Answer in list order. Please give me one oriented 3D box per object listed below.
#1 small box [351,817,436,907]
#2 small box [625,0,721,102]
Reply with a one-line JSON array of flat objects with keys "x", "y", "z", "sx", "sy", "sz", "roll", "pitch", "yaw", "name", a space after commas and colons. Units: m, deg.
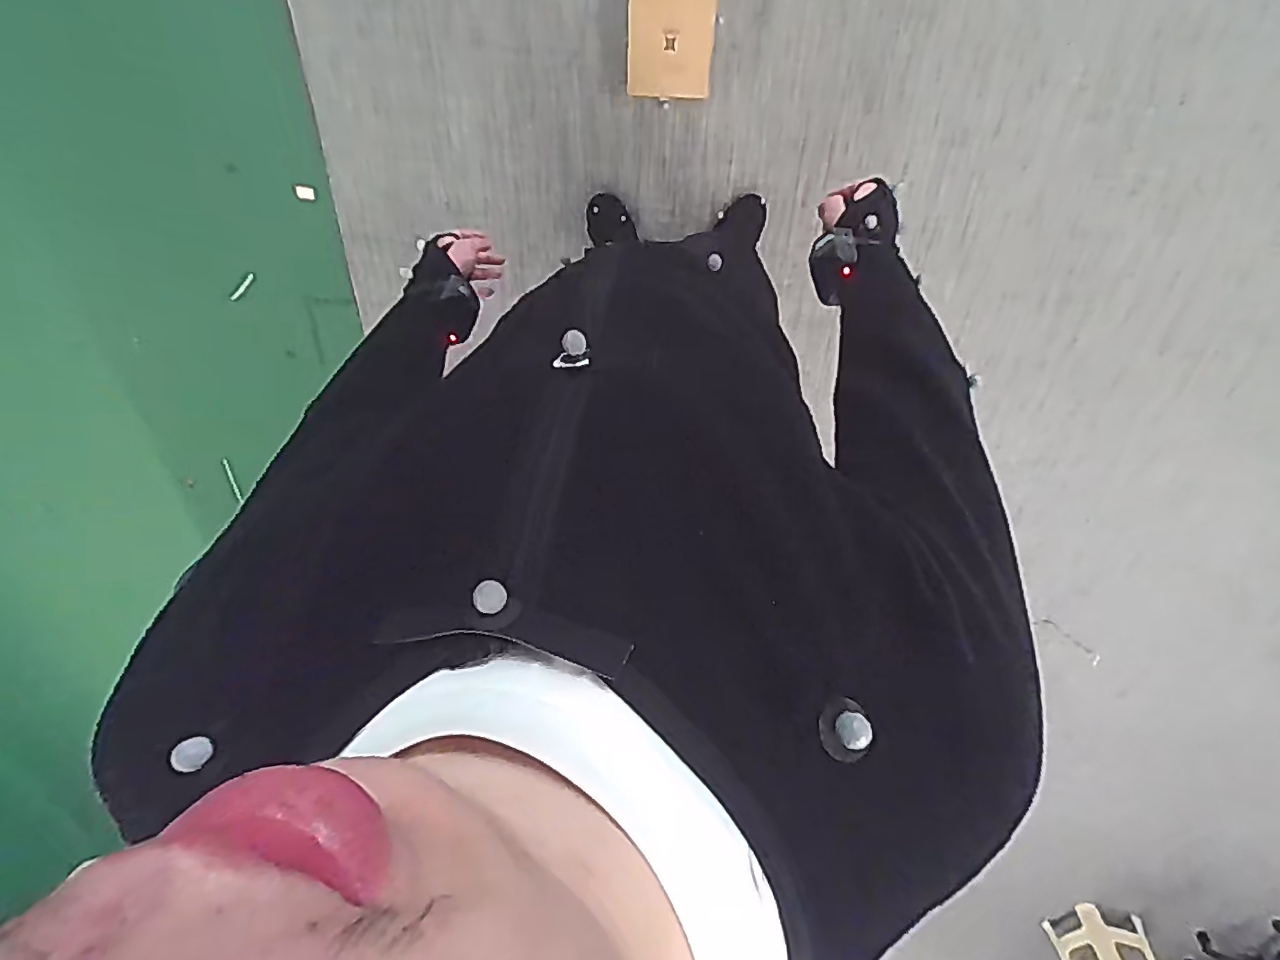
[{"x": -0.756, "y": 1.179, "z": 1.674, "sx": 0.168, "sy": 0.176, "sz": 0.179, "roll": 5, "pitch": 122, "yaw": 5, "name": "small box"}, {"x": 0.069, "y": -0.872, "z": 1.080, "sx": 0.168, "sy": 0.176, "sz": 0.179, "roll": 8, "pitch": 124, "yaw": 5, "name": "small box"}]
